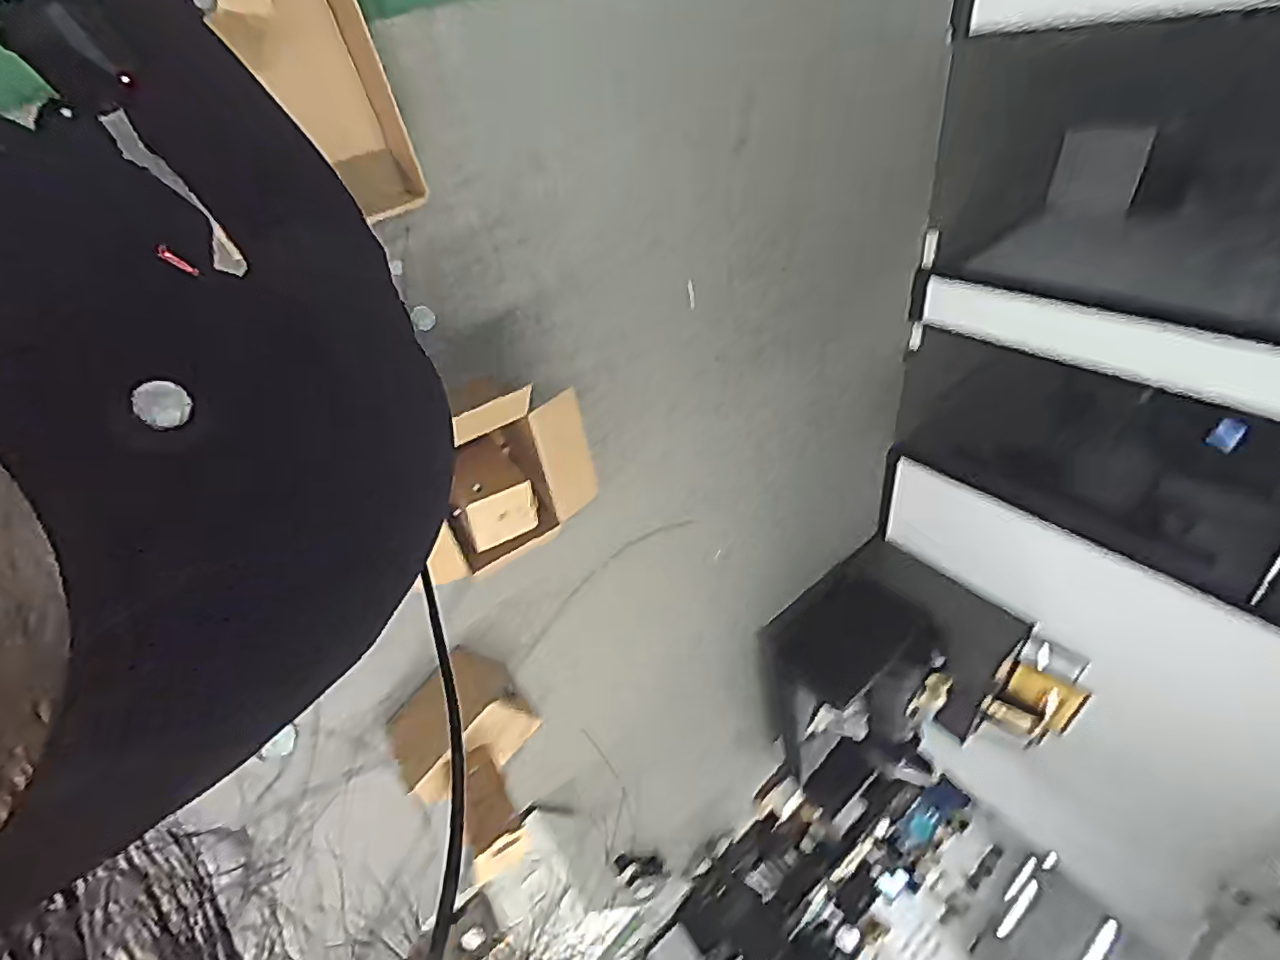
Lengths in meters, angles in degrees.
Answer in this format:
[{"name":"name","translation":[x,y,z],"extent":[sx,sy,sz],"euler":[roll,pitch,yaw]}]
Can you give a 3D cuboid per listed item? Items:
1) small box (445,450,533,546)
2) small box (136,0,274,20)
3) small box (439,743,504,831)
[{"name":"small box","translation":[-0.420,0.044,1.492],"extent":[0.179,0.176,0.168],"euler":[-25,135,-28]},{"name":"small box","translation":[-0.704,-0.832,0.835],"extent":[0.179,0.176,0.168],"euler":[-21,130,-32]},{"name":"small box","translation":[-0.577,1.037,1.849],"extent":[0.168,0.176,0.179],"euler":[-15,124,-35]}]
